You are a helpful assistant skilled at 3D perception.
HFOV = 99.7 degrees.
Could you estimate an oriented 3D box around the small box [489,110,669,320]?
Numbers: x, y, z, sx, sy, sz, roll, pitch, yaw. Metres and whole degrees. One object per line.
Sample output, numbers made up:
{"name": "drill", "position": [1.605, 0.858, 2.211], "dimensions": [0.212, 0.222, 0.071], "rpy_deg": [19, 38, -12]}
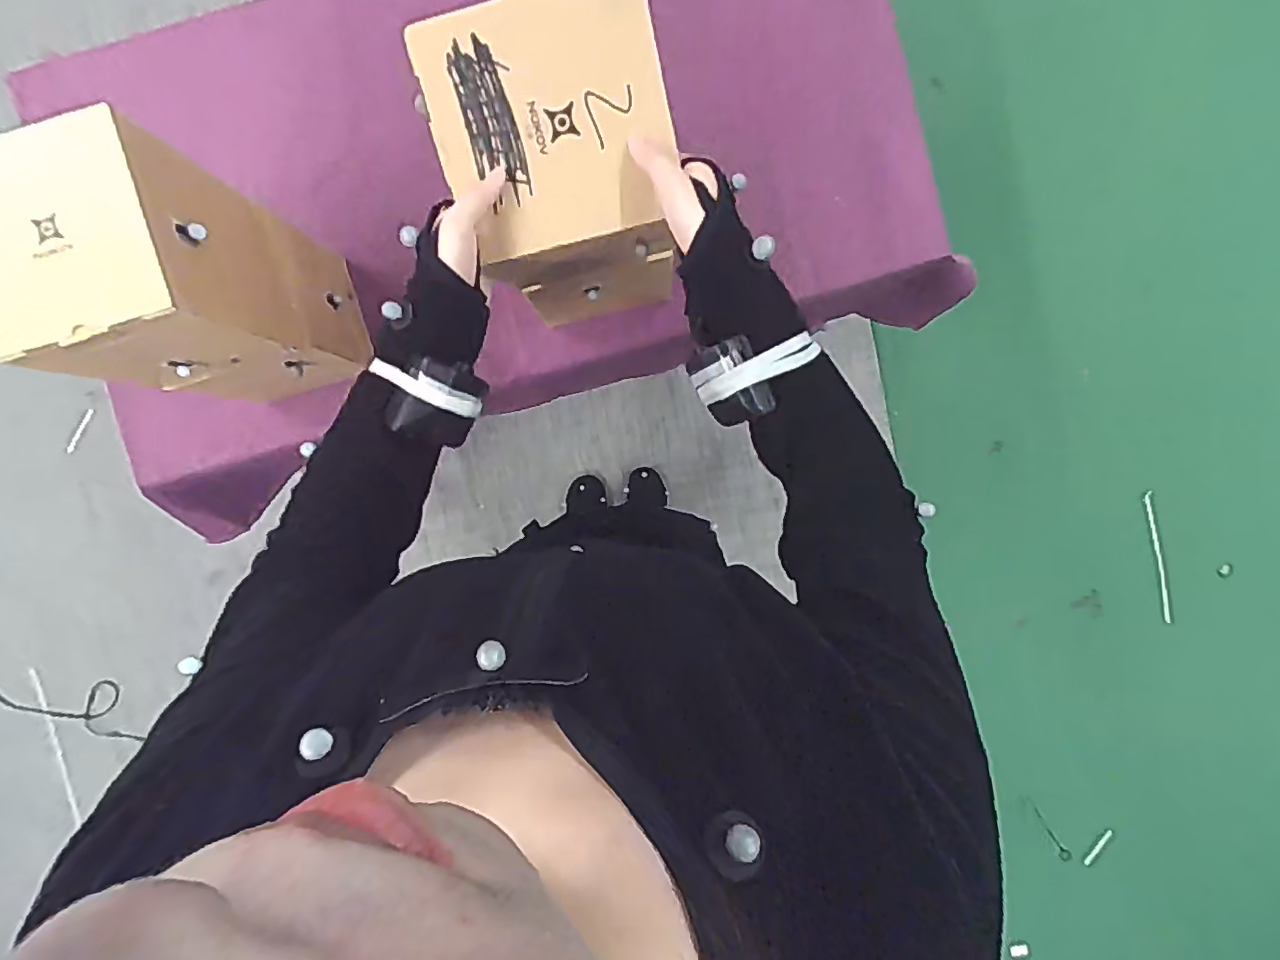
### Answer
{"name": "small box", "position": [-0.066, -0.315, 0.682], "dimensions": [0.179, 0.176, 0.168], "rpy_deg": [-13, 93, 1]}

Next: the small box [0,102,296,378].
{"name": "small box", "position": [-0.484, -0.212, 0.528], "dimensions": [0.168, 0.176, 0.179], "rpy_deg": [-16, 94, 1]}

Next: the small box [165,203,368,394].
{"name": "small box", "position": [-0.478, -0.216, 0.691], "dimensions": [0.179, 0.176, 0.168], "rpy_deg": [-16, 92, 1]}
